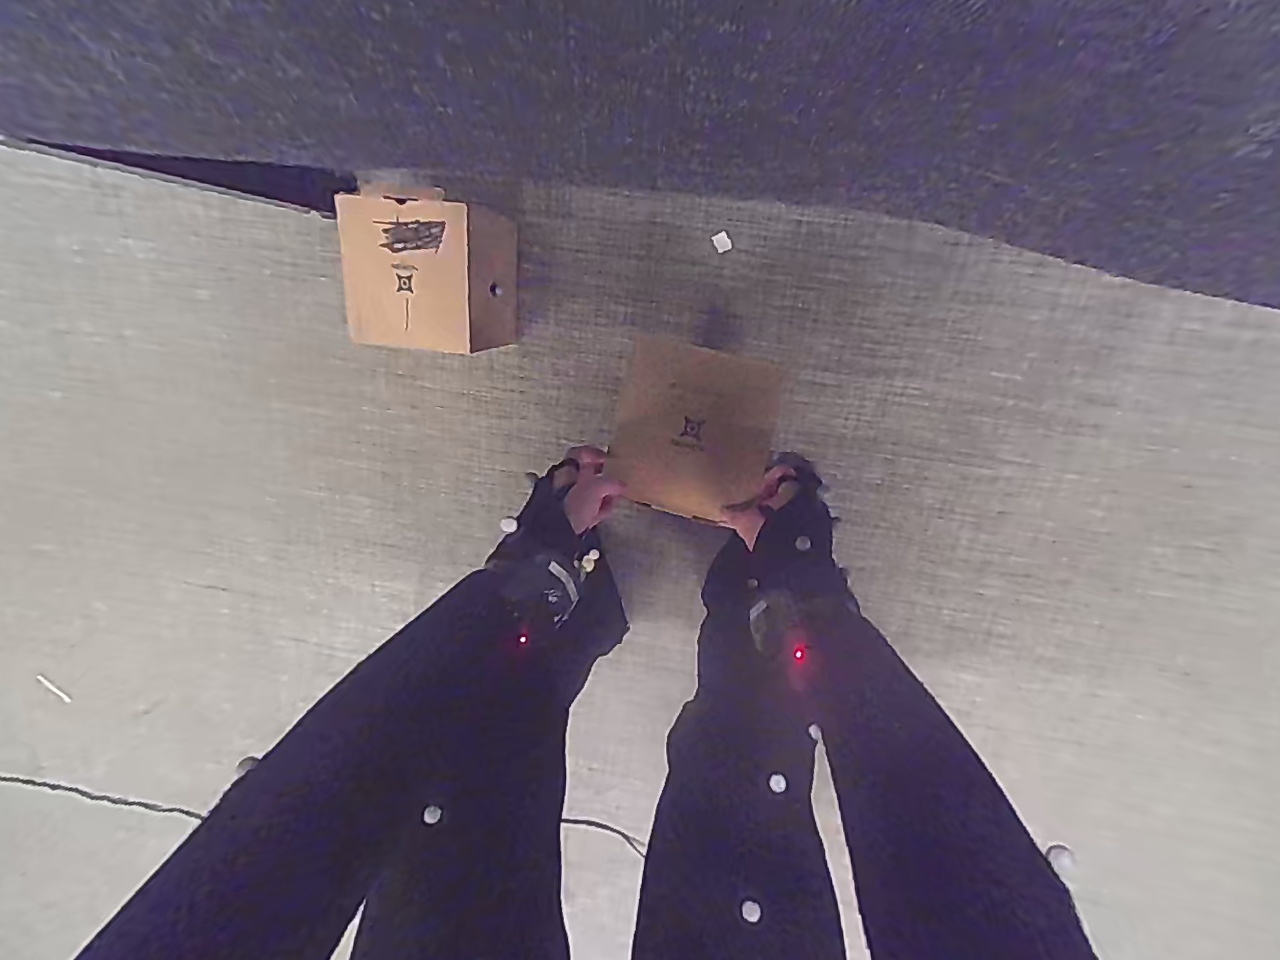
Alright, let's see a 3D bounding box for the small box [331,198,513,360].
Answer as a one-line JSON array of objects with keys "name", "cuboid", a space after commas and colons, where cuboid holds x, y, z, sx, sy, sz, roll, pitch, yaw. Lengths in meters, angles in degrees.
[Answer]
[{"name": "small box", "cuboid": [-0.278, -0.264, 0.727, 0.168, 0.176, 0.179, 6, 109, 6]}]
